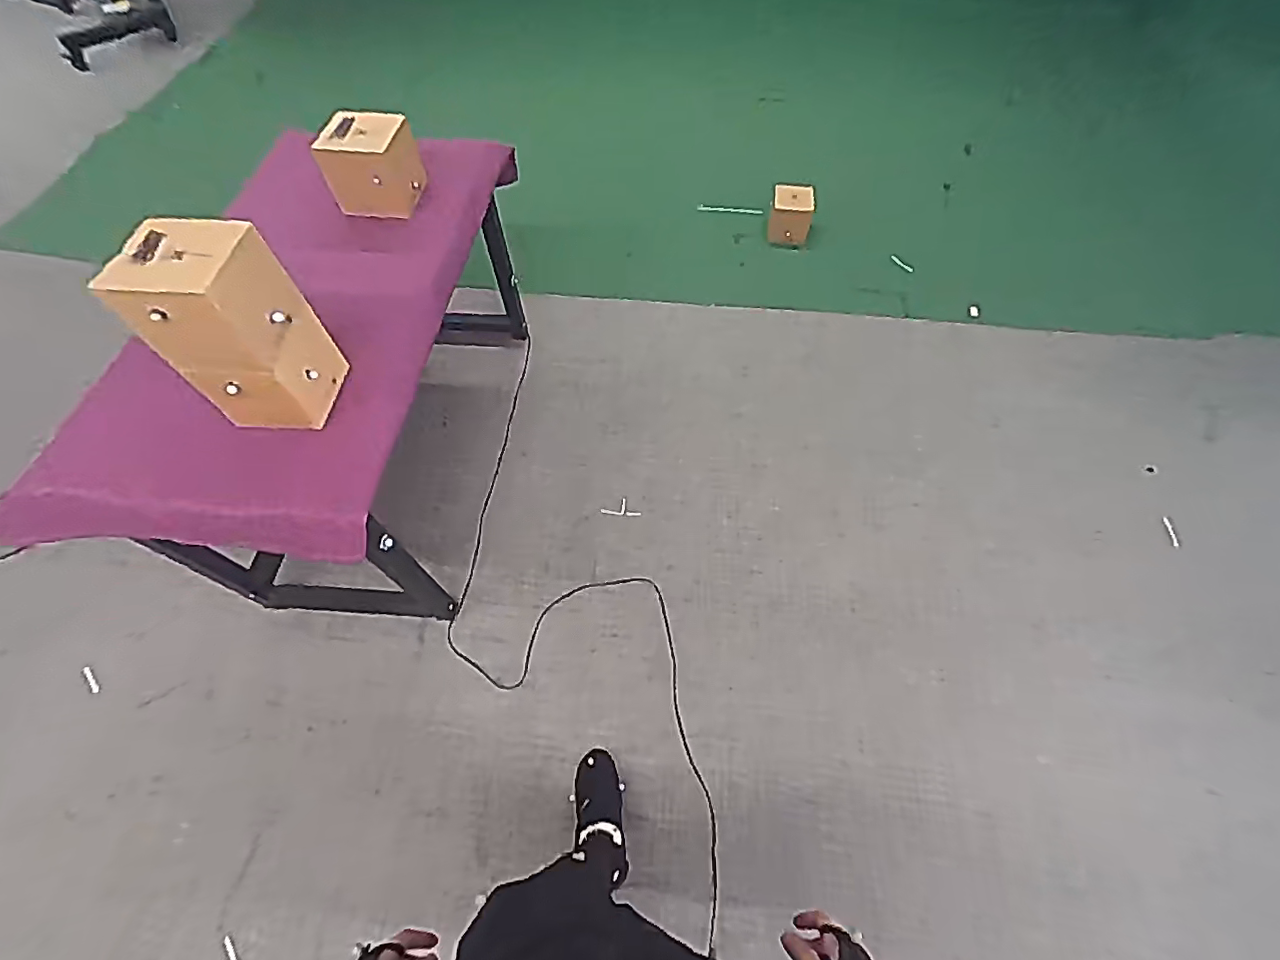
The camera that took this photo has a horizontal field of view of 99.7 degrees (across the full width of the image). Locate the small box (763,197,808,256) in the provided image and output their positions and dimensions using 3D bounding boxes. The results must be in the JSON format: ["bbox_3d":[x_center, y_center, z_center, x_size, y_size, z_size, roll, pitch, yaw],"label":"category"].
[{"bbox_3d":[0.653,-1.141,2.437,0.168,0.176,0.179,7,59,4],"label":"small box"}]

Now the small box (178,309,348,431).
[{"bbox_3d":[-0.688,-0.205,1.016,0.179,0.176,0.168,3,59,2],"label":"small box"}]

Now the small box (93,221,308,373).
[{"bbox_3d":[-0.690,-0.291,0.876,0.179,0.176,0.168,4,59,1],"label":"small box"}]
